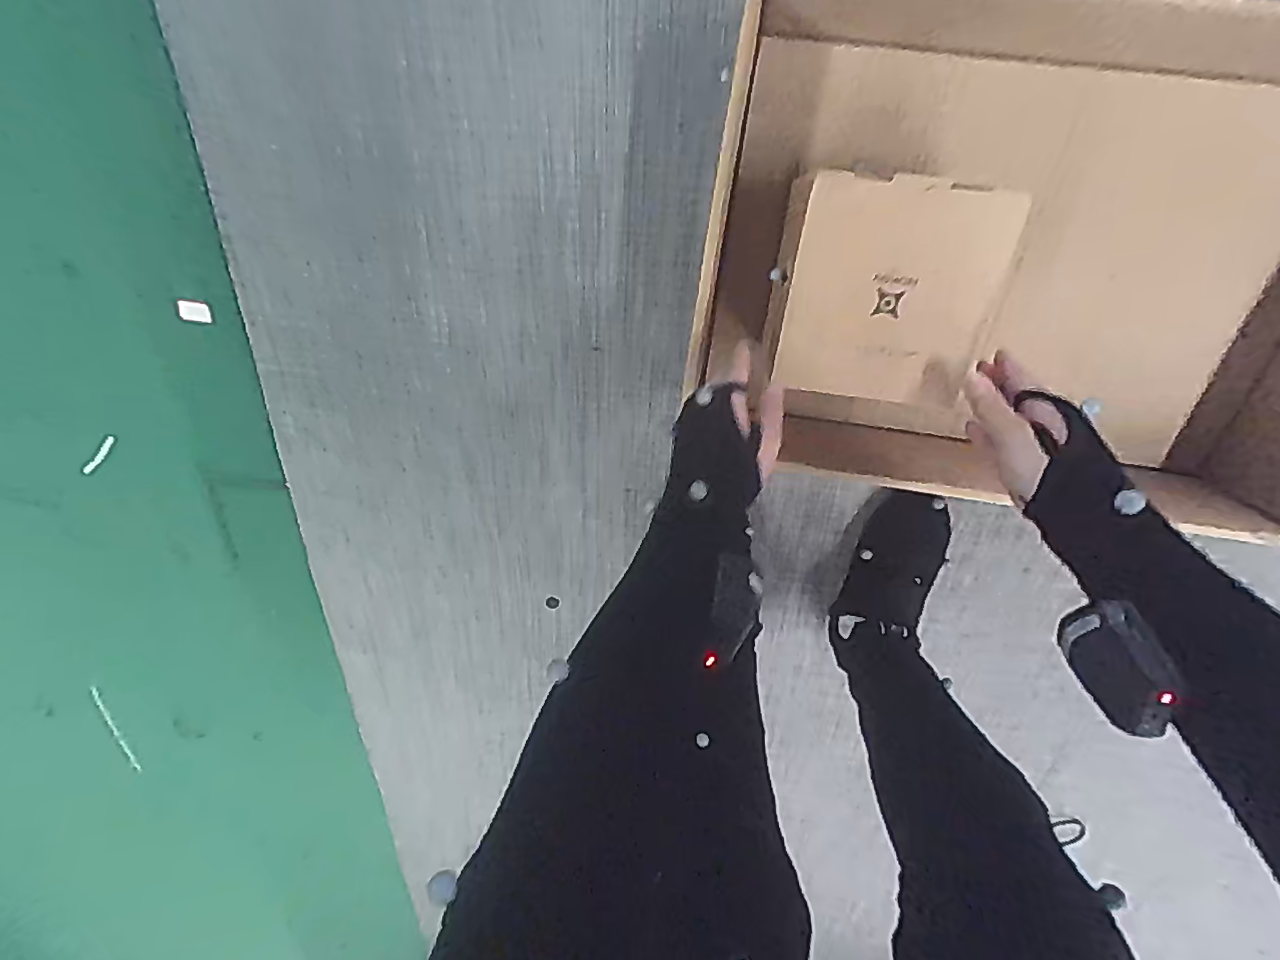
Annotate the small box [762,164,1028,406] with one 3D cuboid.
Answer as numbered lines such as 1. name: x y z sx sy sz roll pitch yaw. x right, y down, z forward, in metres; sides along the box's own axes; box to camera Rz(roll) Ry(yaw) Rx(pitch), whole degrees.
1. small box: 0.216 -0.189 0.521 0.168 0.176 0.179 9 117 5
